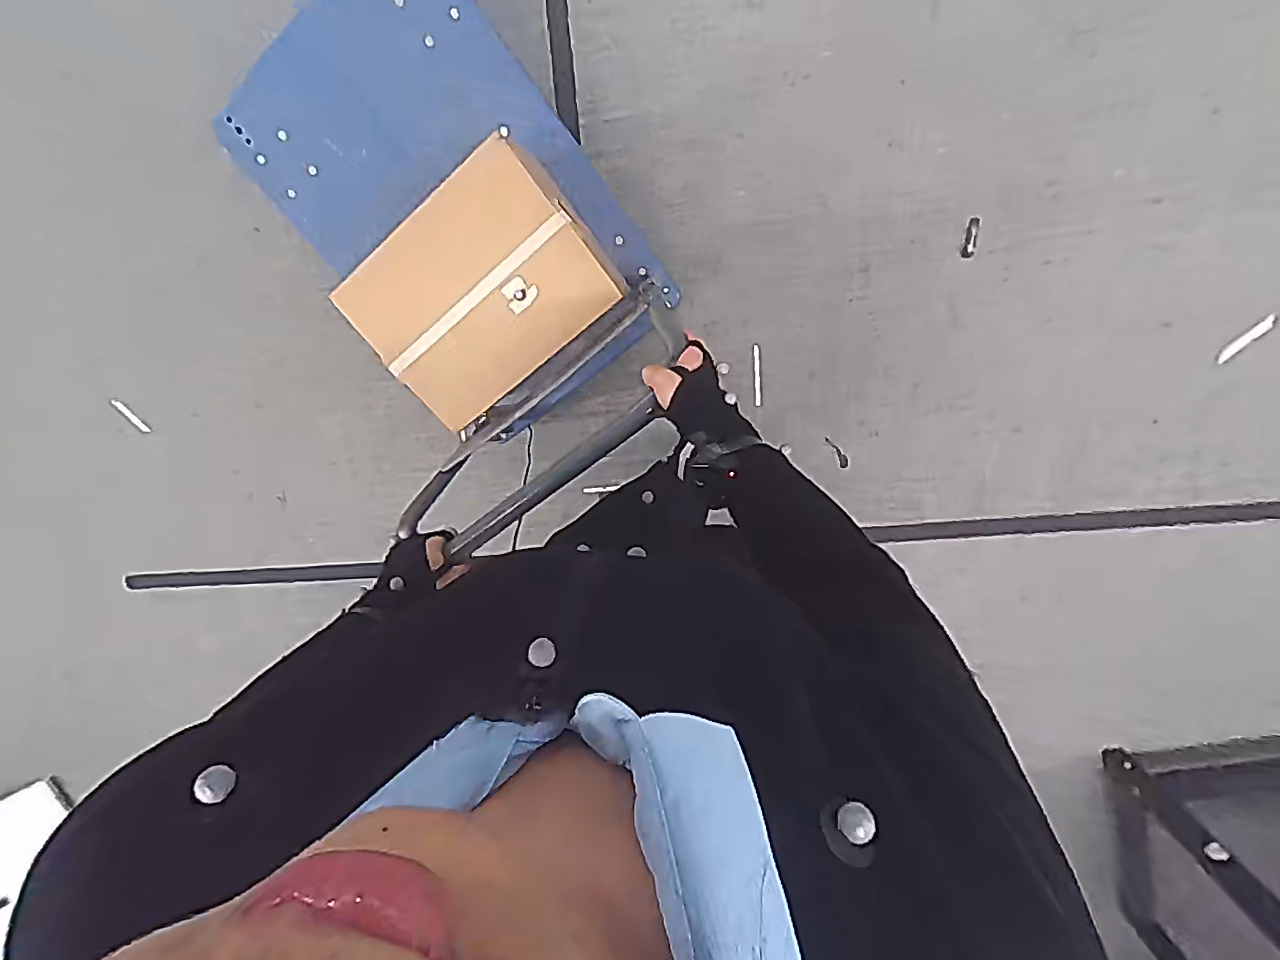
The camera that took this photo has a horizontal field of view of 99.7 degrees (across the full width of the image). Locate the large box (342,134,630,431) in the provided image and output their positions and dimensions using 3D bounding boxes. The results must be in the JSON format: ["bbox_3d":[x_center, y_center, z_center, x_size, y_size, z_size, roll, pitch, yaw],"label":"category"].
[{"bbox_3d":[-0.271,-0.365,1.066,0.408,0.320,0.320,-36,106,14],"label":"large box"}]
